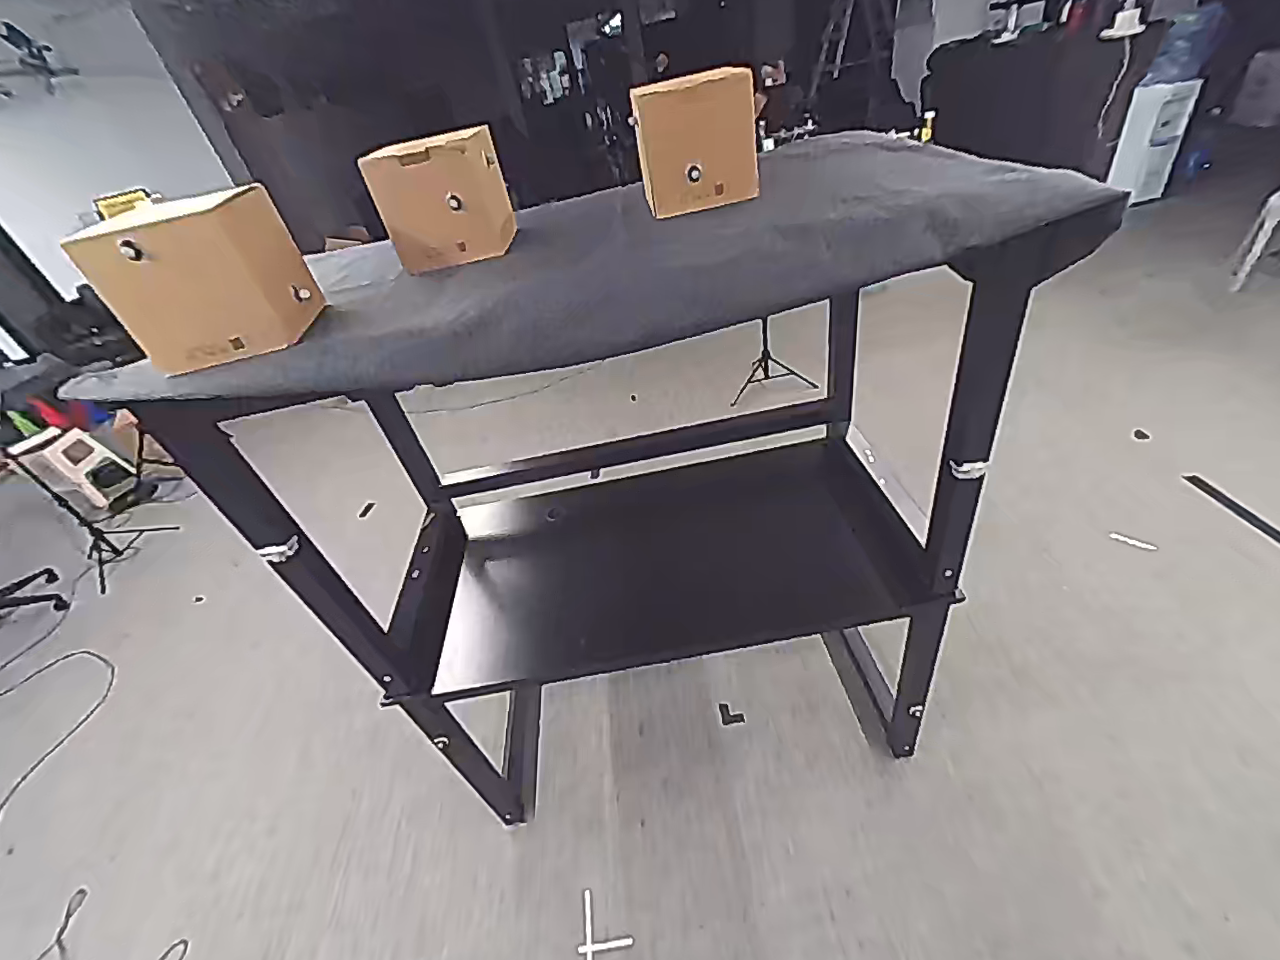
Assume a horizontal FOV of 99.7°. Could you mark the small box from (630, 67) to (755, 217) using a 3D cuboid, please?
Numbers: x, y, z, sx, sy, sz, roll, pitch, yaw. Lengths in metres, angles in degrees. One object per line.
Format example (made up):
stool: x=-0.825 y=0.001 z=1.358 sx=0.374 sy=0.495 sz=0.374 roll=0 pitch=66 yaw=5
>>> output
small box: x=0.082 y=-0.537 z=0.862 sx=0.168 sy=0.176 sz=0.179 roll=-12 pitch=39 yaw=3

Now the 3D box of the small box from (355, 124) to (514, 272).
small box: x=-0.315 y=-0.451 z=0.875 sx=0.168 sy=0.176 sz=0.179 roll=-9 pitch=39 yaw=4

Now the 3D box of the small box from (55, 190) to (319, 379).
small box: x=-0.549 y=-0.252 z=0.694 sx=0.168 sy=0.176 sz=0.179 roll=-16 pitch=38 yaw=-3
